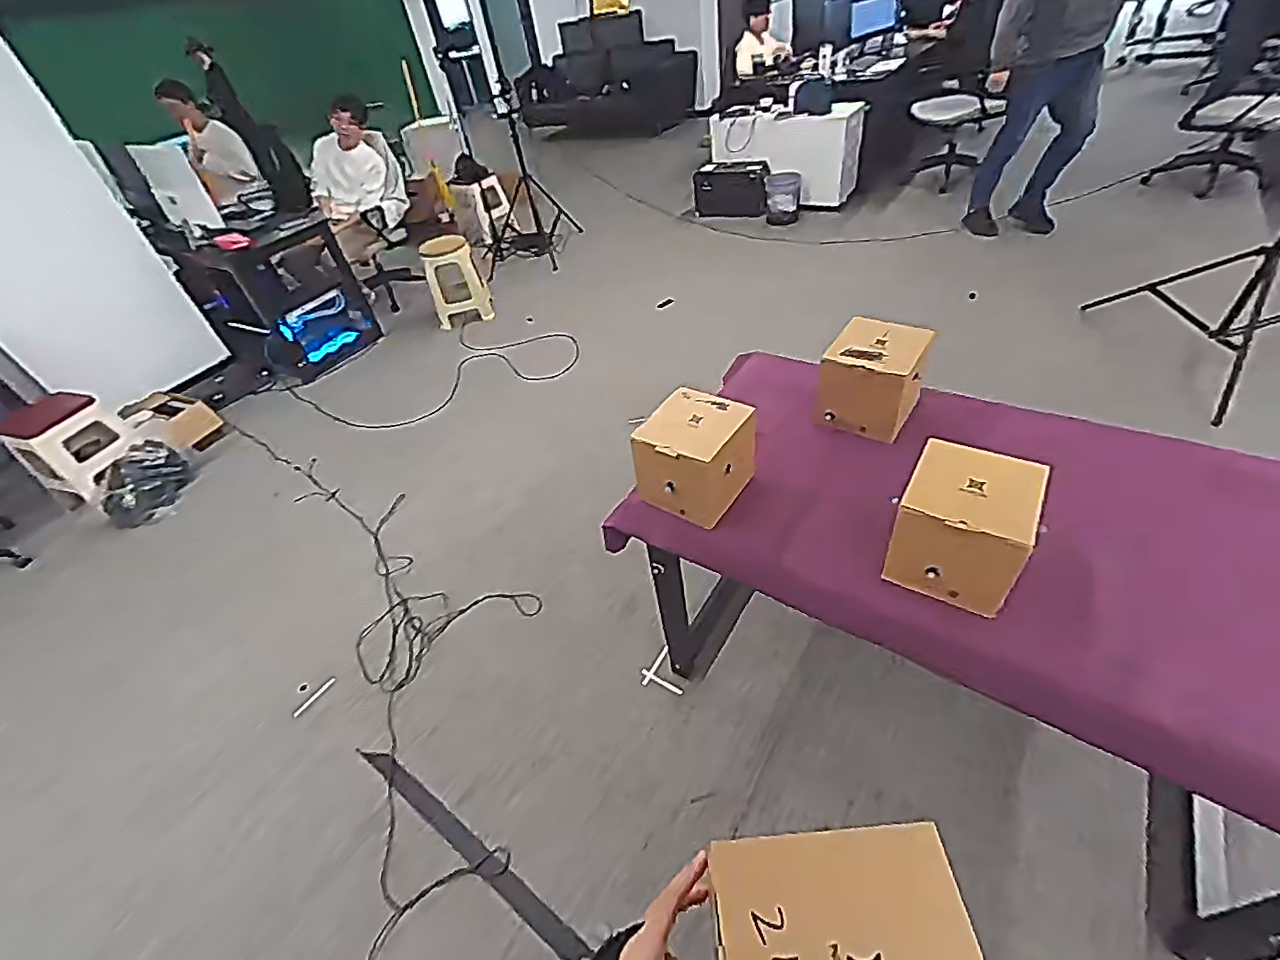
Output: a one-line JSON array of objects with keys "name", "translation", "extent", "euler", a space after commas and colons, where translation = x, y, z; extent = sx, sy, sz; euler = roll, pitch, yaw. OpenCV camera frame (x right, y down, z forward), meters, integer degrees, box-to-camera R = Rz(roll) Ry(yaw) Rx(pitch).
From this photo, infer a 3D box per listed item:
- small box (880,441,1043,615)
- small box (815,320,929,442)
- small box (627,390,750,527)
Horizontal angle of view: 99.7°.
[{"name": "small box", "translation": [0.490, 0.072, 0.840], "extent": [0.168, 0.176, 0.179], "euler": [20, 50, 28]}, {"name": "small box", "translation": [0.478, -0.207, 1.132], "extent": [0.168, 0.176, 0.179], "euler": [23, 53, 30]}, {"name": "small box", "translation": [0.101, -0.040, 1.032], "extent": [0.168, 0.176, 0.179], "euler": [22, 52, 29]}]
